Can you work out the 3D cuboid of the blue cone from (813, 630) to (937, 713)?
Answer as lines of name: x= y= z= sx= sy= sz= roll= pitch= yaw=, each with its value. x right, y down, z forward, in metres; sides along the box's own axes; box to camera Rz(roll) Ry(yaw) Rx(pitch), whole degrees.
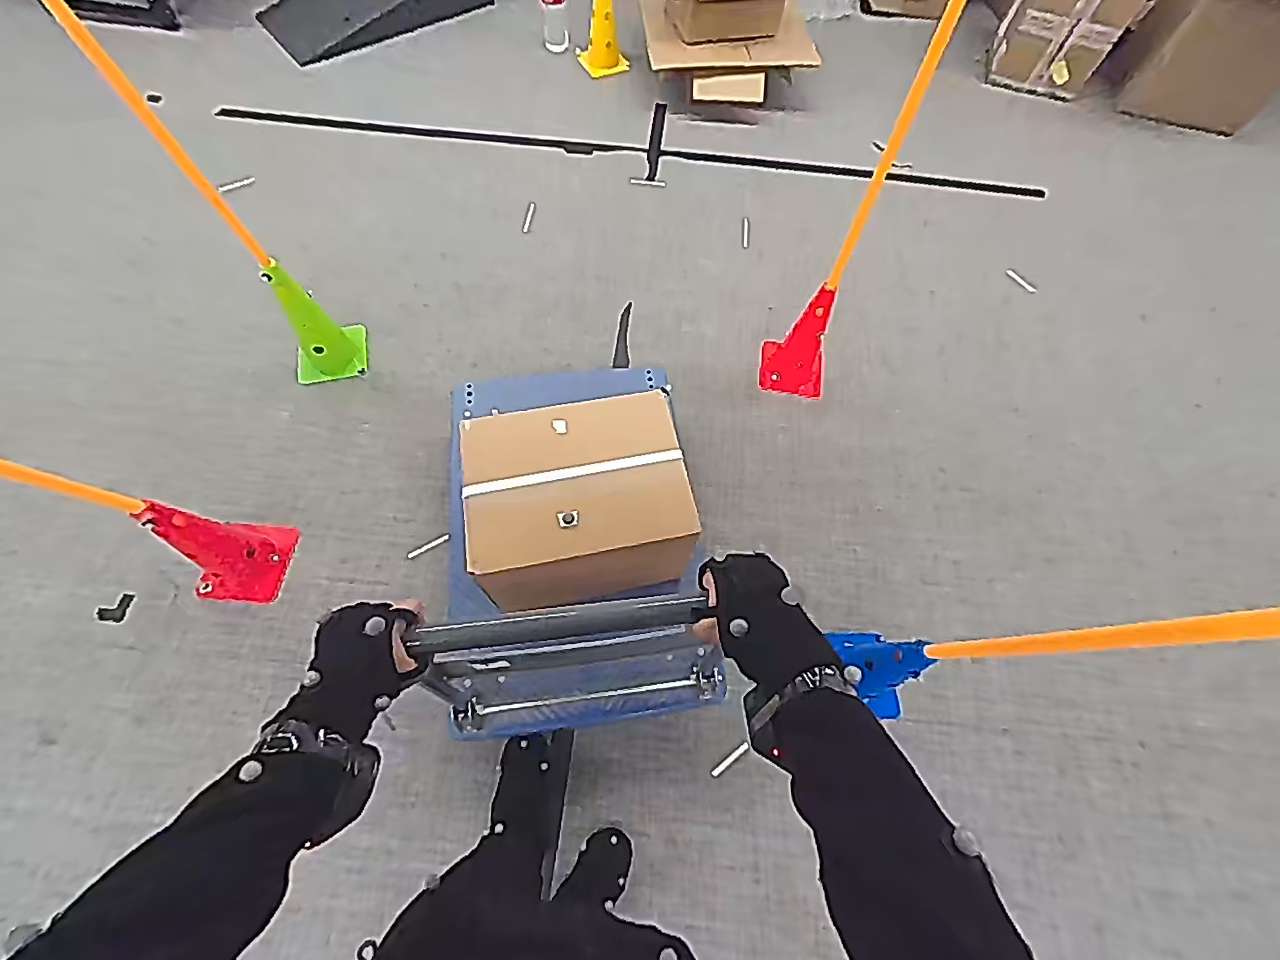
blue cone: x=0.538 y=0.395 z=1.183 sx=0.193 sy=0.380 sz=0.192 roll=3 pitch=63 yaw=-2

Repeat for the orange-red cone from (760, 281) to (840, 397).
orange-red cone: x=0.498 y=-0.431 z=1.566 sx=0.199 sy=0.360 sz=0.198 roll=12 pitch=65 yaw=2
